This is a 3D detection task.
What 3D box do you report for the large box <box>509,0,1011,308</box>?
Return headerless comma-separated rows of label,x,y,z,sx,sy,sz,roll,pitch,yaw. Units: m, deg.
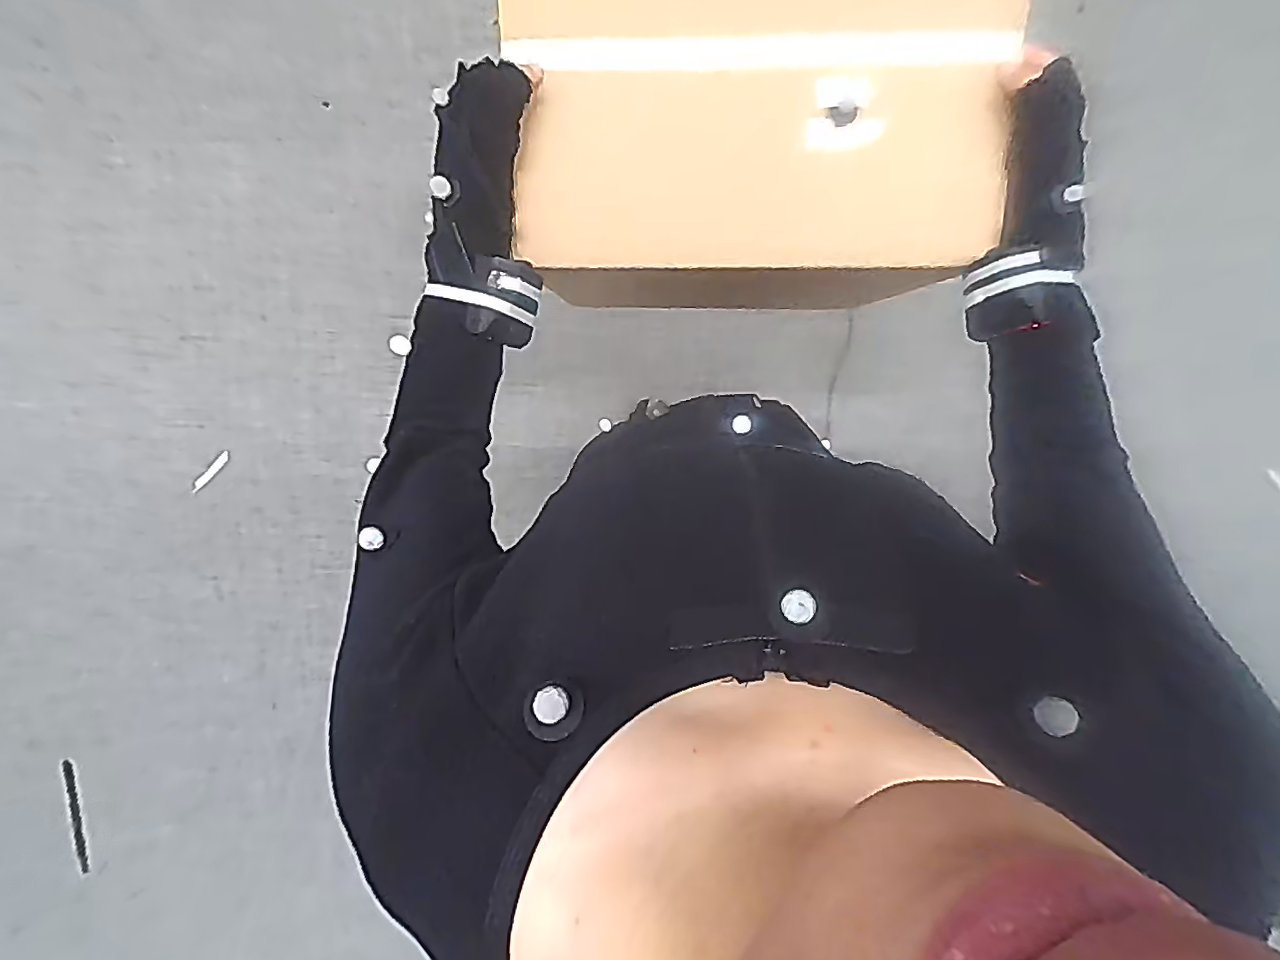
large box,0.095,-0.369,0.583,0.408,0.320,0.320,0,101,1
